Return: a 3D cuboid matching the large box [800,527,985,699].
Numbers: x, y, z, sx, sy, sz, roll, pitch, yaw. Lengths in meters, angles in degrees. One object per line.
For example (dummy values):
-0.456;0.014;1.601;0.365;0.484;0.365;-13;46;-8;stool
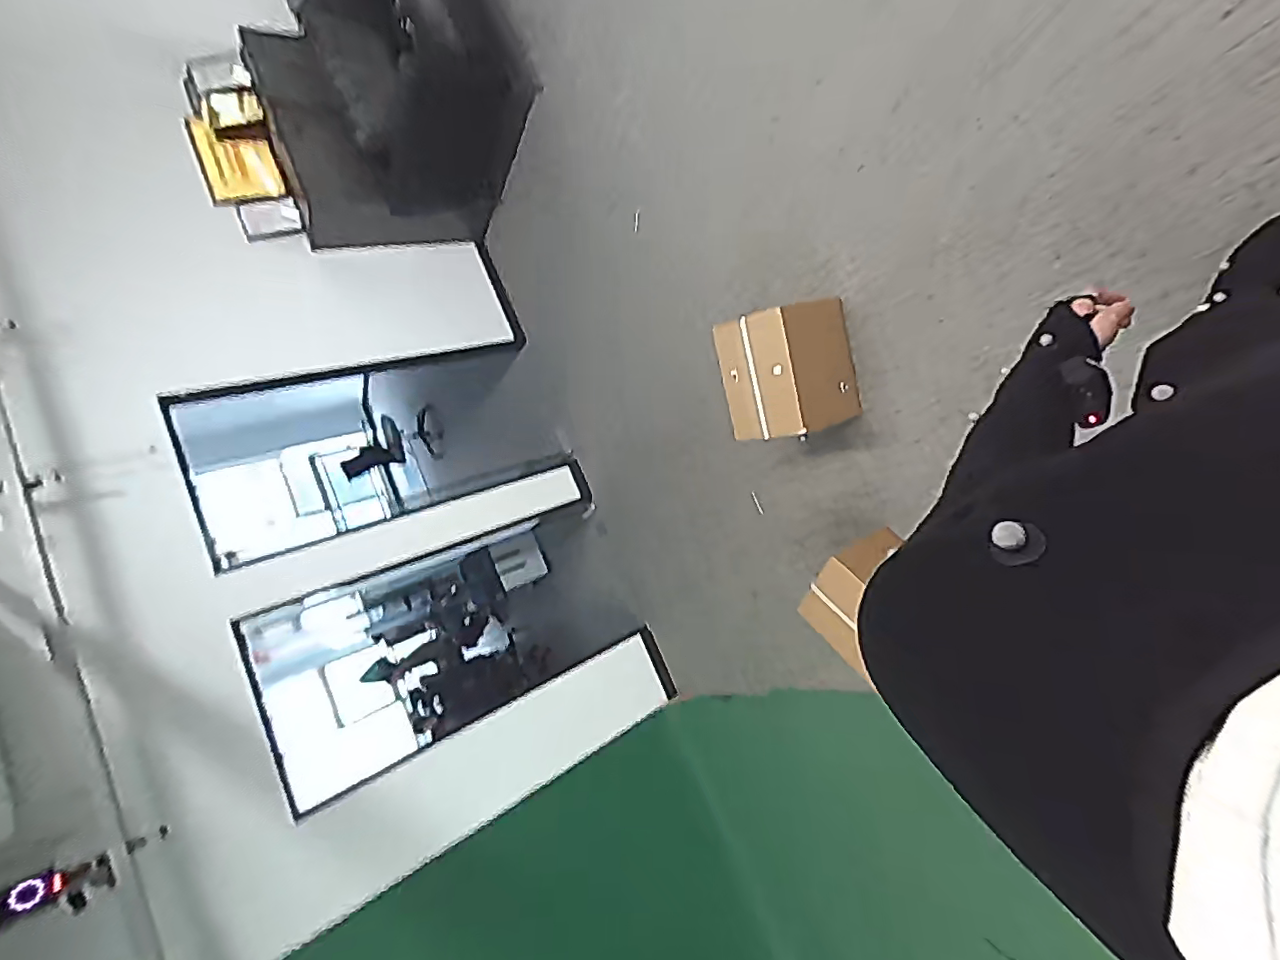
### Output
0.834;0.432;1.820;0.408;0.320;0.320;45;140;32;large box
